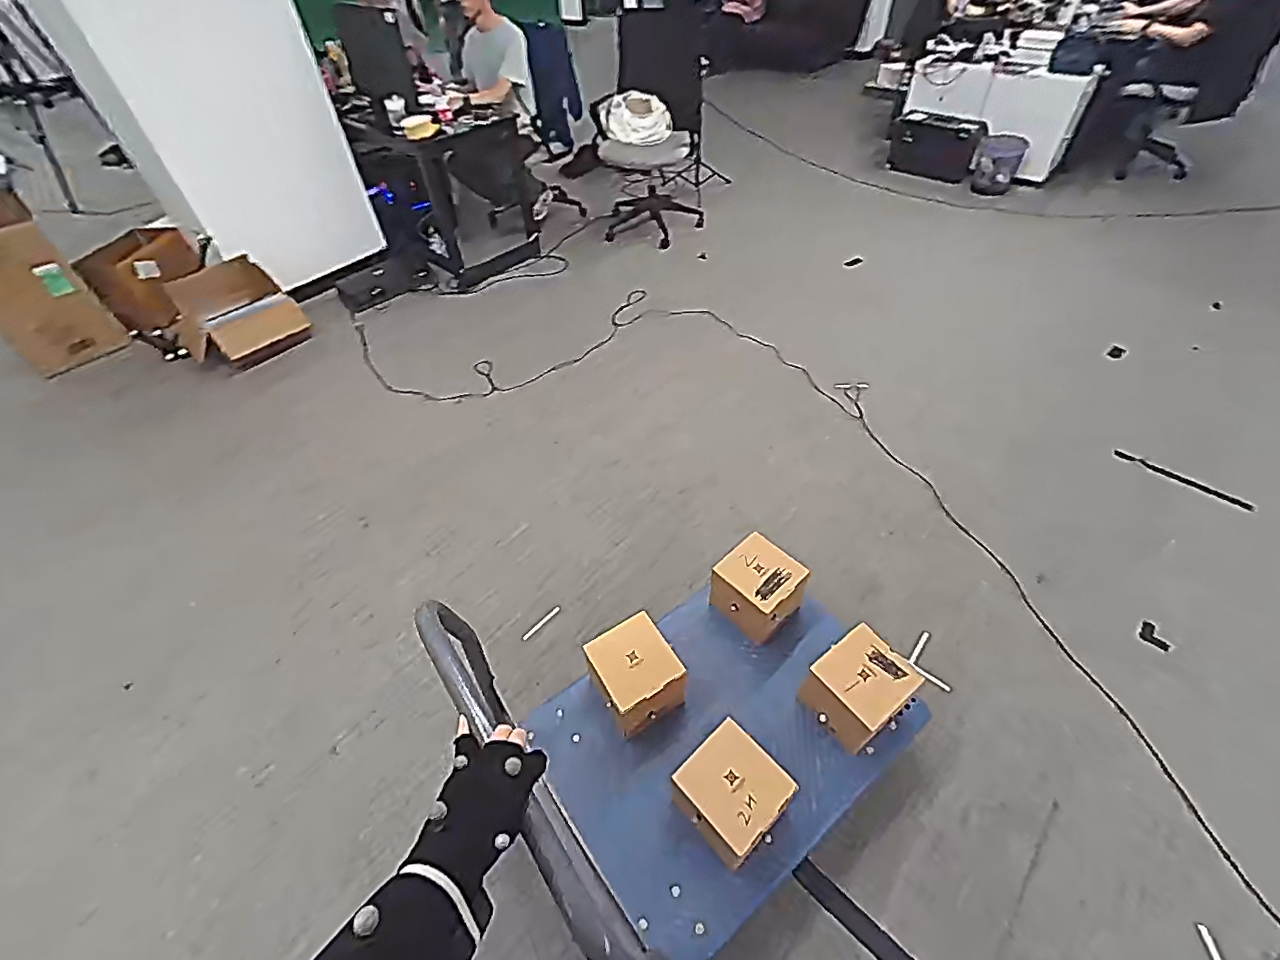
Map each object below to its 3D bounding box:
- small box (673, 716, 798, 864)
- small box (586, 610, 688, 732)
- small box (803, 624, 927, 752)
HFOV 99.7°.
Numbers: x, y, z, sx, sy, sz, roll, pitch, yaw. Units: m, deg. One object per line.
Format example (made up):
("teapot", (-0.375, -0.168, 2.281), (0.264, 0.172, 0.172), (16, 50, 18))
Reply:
("small box", (0.180, 0.614, 1.066), (0.168, 0.176, 0.179), (-34, 55, -25))
("small box", (-0.008, 0.439, 1.236), (0.168, 0.176, 0.179), (-26, 53, -20))
("small box", (0.482, 0.458, 1.188), (0.179, 0.176, 0.168), (-30, 53, -20))
